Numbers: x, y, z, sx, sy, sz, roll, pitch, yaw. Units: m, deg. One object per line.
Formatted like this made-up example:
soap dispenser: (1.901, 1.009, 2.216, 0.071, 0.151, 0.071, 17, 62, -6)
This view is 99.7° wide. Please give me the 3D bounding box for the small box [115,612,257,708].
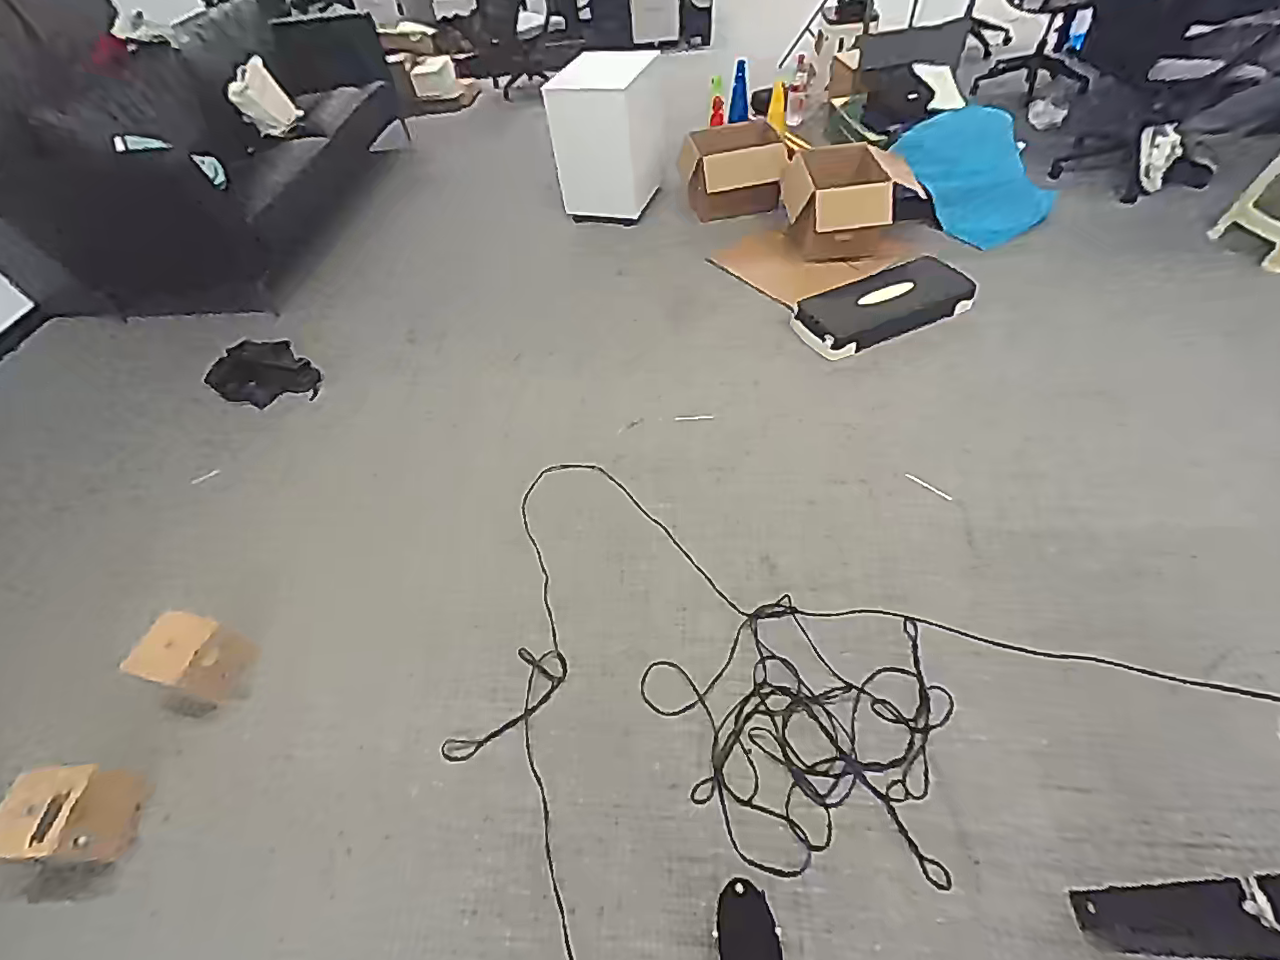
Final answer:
small box: (-1.140, 0.460, 1.372, 0.179, 0.176, 0.168, 8, 52, 13)
